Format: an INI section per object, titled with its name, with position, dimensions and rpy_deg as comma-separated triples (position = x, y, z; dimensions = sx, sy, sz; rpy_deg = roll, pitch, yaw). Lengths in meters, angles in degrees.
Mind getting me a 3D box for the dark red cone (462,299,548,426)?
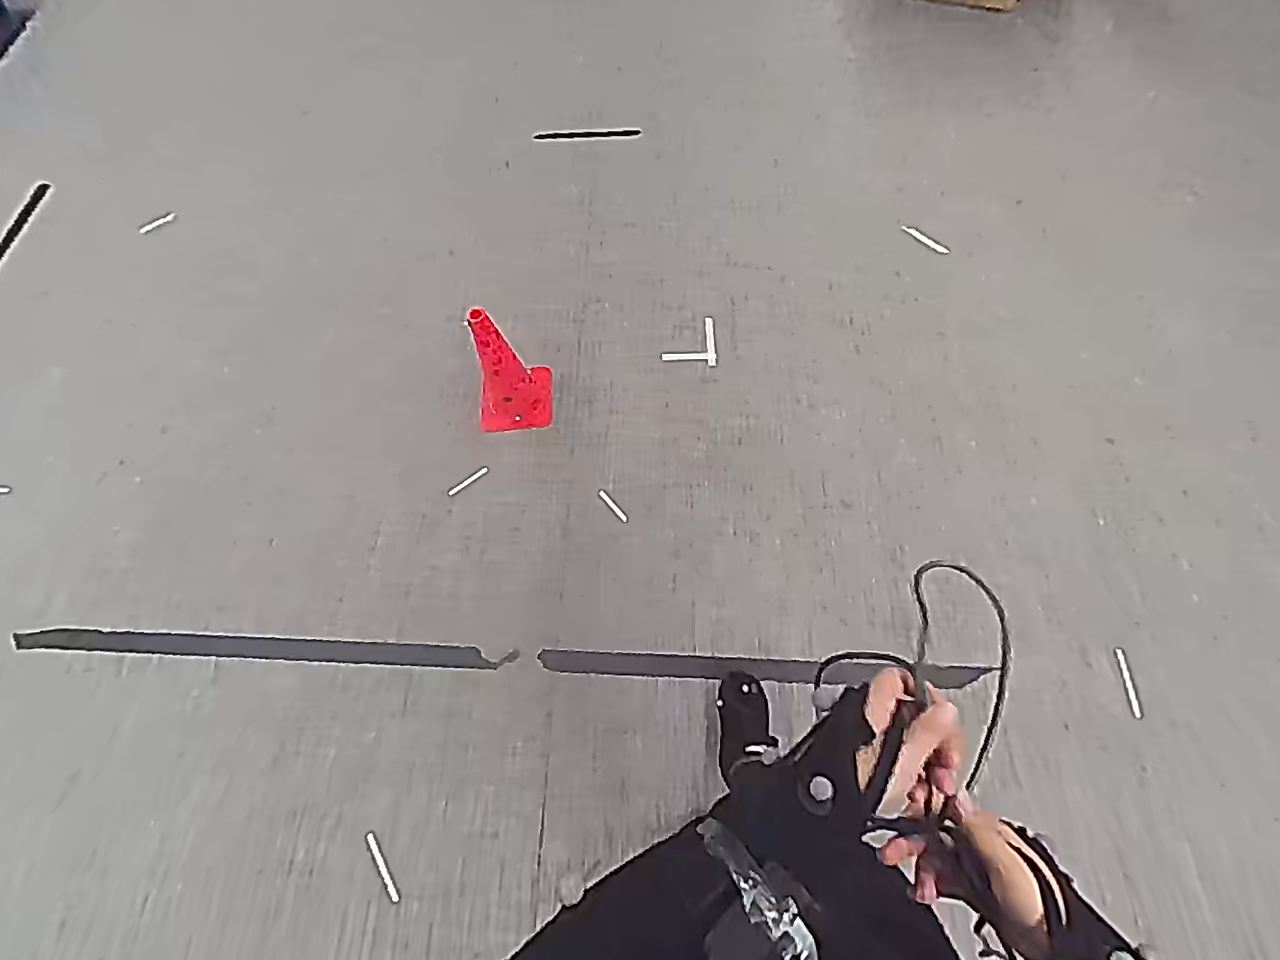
[dark red cone]
position = -0.364, -0.307, 1.353
dimensions = 0.202, 0.394, 0.201
rpy_deg = -7, 67, 0
